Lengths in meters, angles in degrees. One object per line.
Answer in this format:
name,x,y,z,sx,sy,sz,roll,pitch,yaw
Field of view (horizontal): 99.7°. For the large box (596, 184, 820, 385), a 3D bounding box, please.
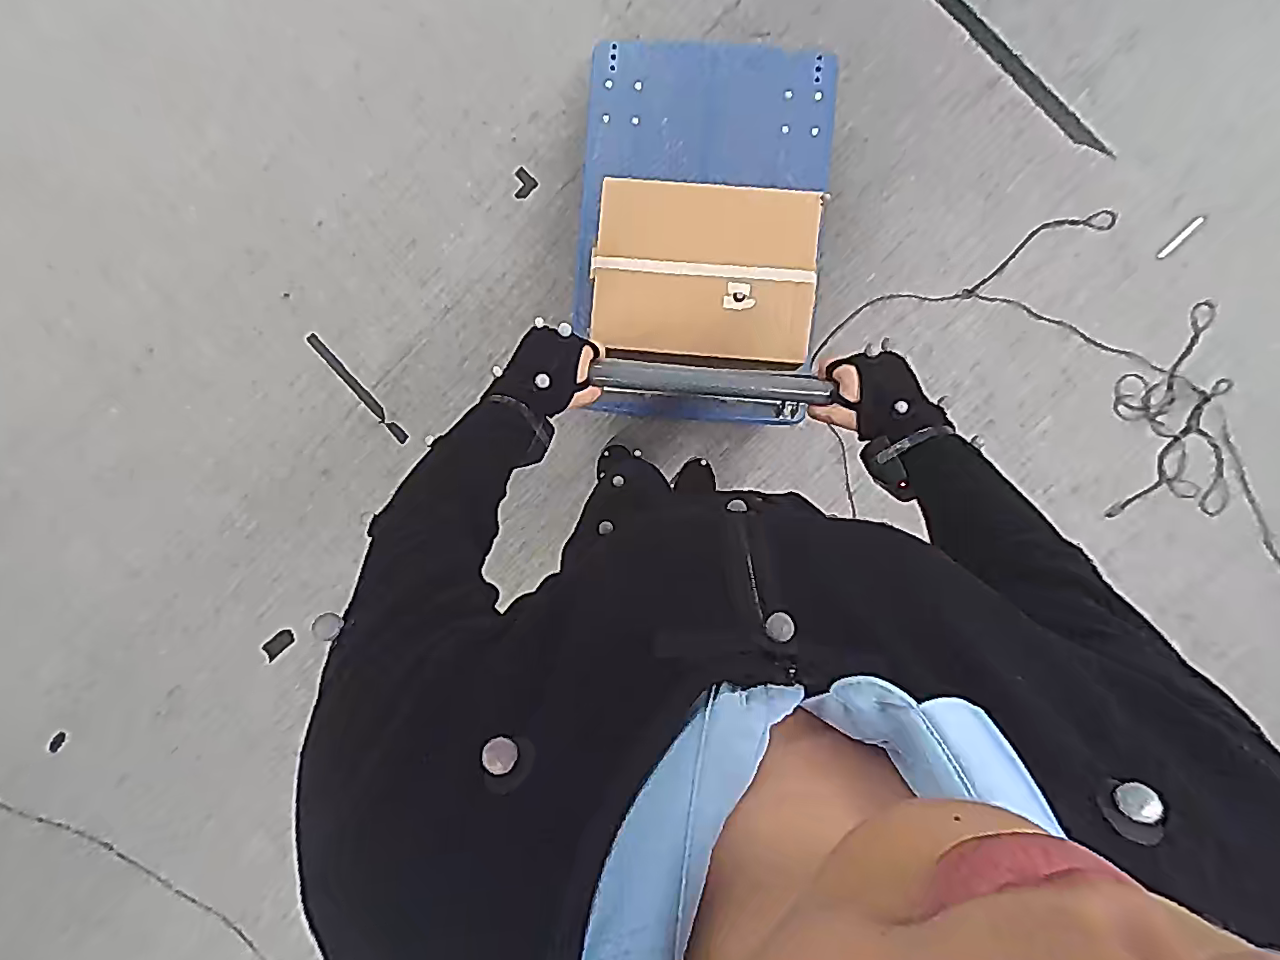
large box,0.125,-0.386,1.148,0.408,0.320,0.320,5,93,1
